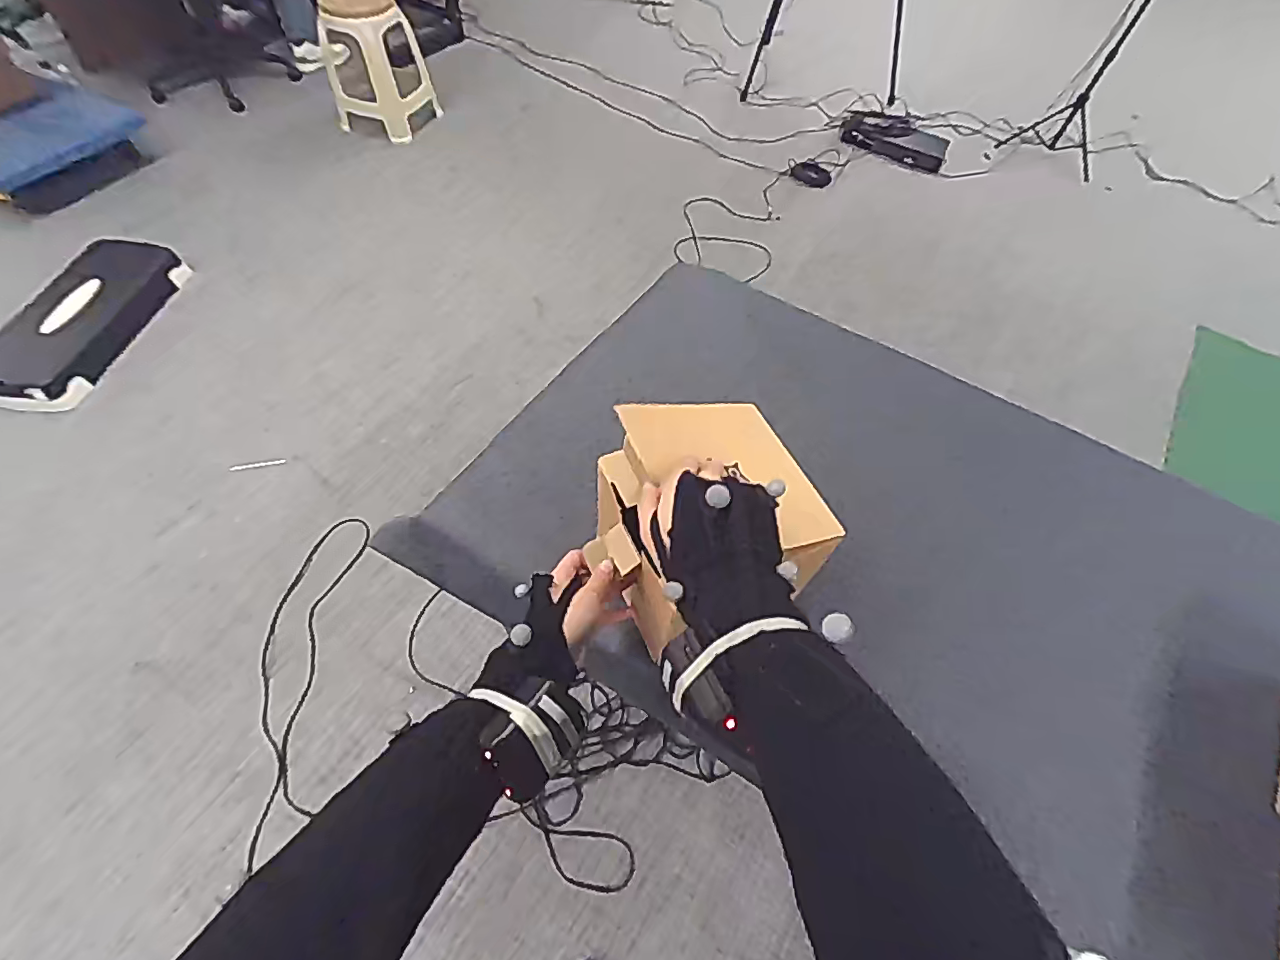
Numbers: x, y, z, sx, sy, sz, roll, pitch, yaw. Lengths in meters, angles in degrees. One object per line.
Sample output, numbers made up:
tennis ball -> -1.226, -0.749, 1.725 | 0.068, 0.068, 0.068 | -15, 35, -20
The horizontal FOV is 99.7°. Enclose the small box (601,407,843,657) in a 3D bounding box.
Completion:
small box -> 0.066, 0.058, 0.559 | 0.179, 0.176, 0.168 | -20, 61, -16
